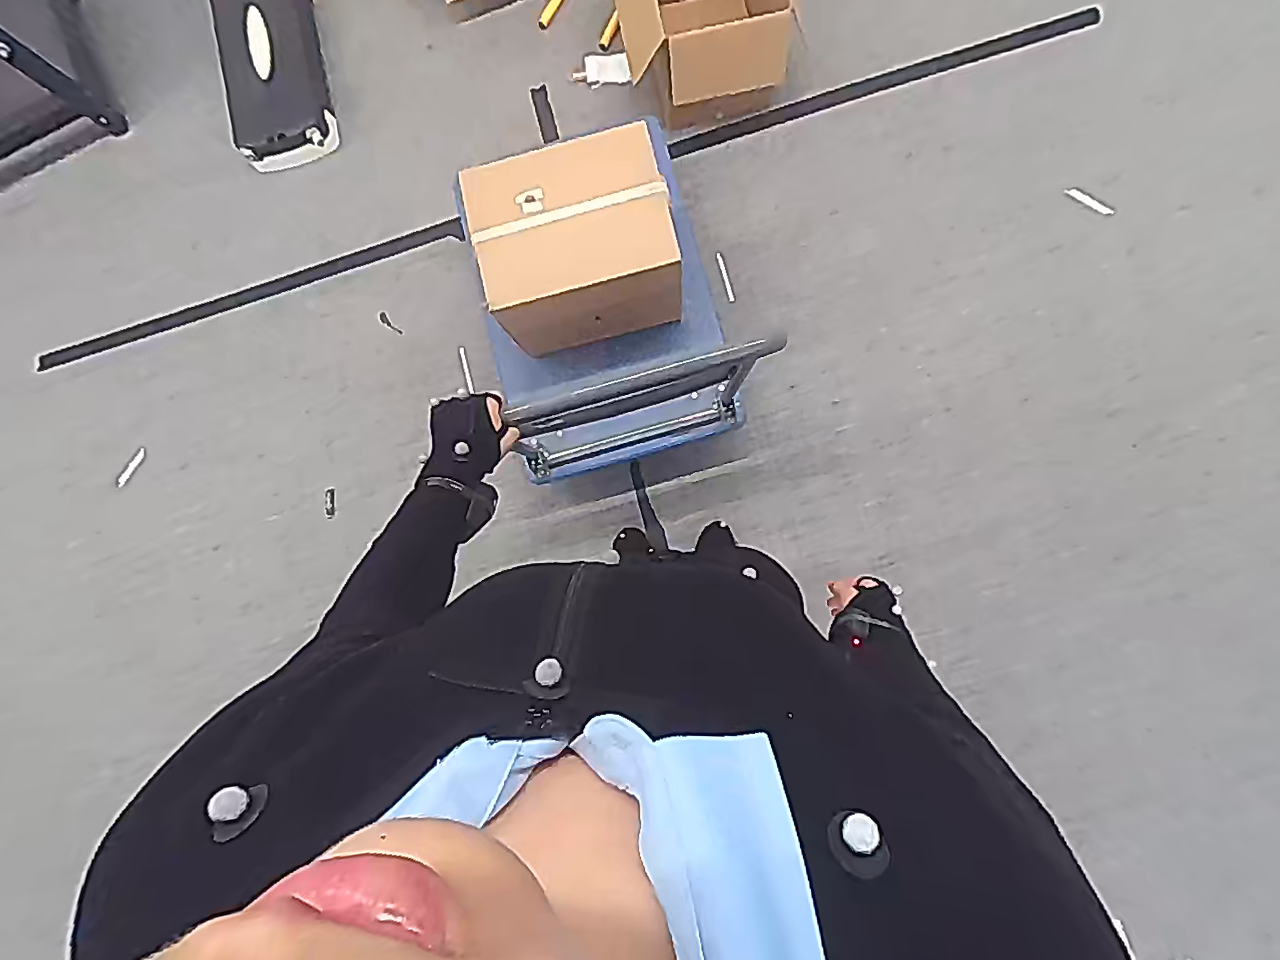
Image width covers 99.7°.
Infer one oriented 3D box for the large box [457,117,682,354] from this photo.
[{"bbox_3d":[-0.136,-0.523,1.231,0.408,0.320,0.320,-14,83,4],"label":"large box"}]
